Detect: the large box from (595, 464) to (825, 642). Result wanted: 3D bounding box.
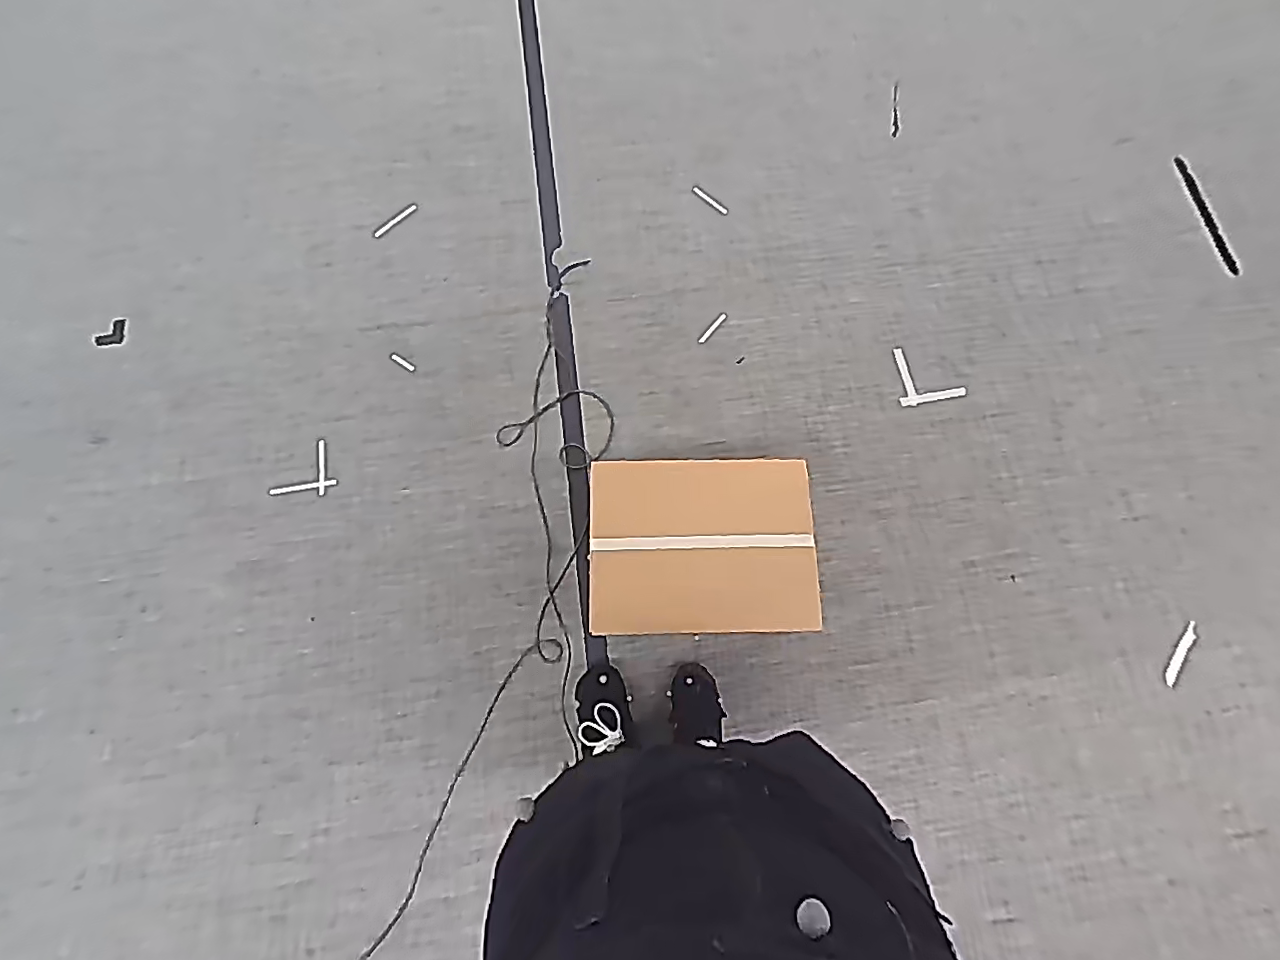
[{"bbox_3d":[0.117,0.160,1.116,0.408,0.320,0.320,-1,76,-1],"label":"large box"}]
